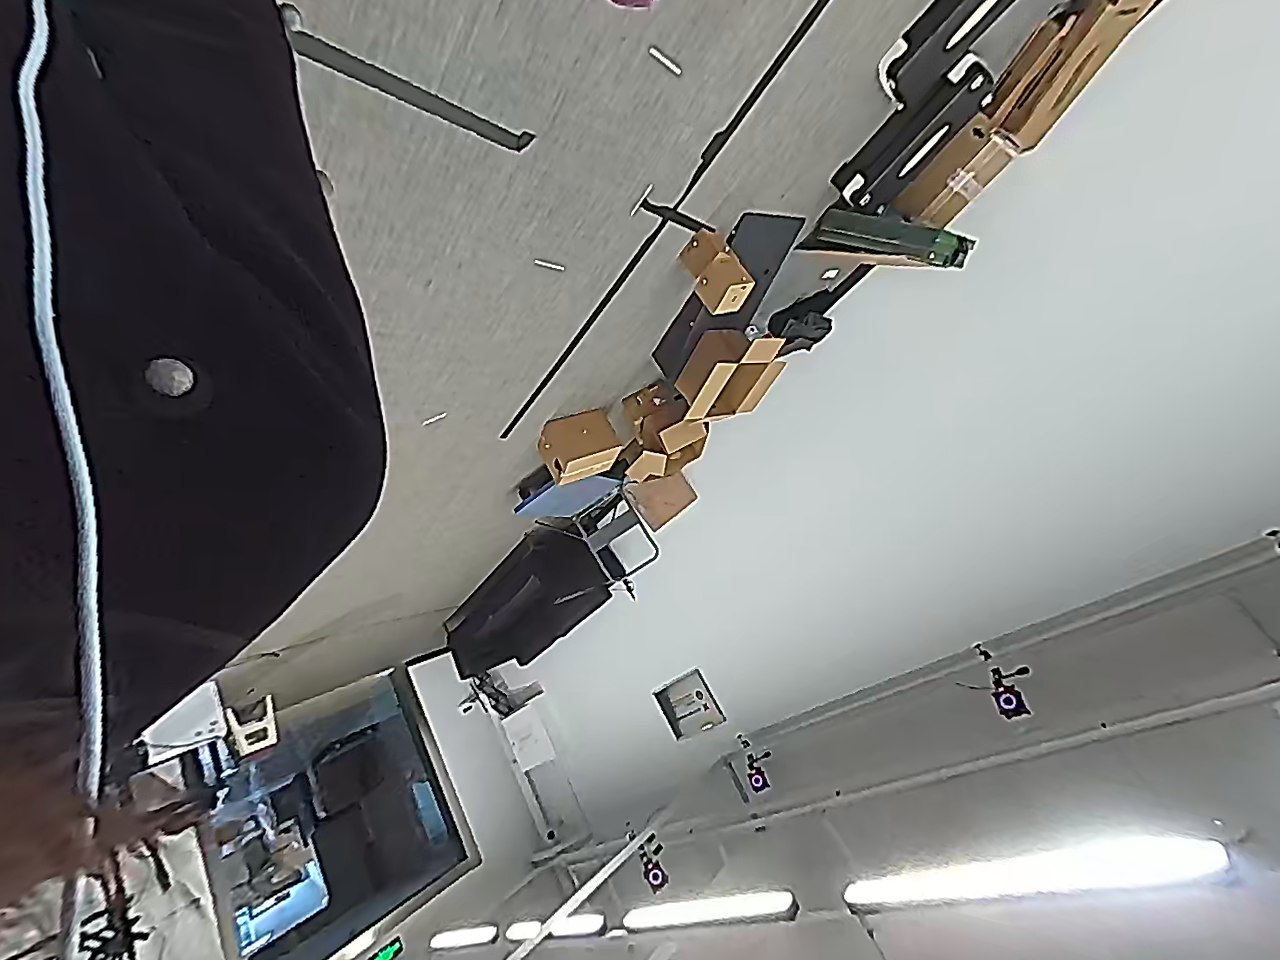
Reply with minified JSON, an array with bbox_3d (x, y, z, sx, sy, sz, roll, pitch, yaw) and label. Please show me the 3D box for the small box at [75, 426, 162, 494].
[{"bbox_3d":[-1.776,-0.071,1.836,0.168,0.176,0.179,-41,162,29],"label":"small box"}]
